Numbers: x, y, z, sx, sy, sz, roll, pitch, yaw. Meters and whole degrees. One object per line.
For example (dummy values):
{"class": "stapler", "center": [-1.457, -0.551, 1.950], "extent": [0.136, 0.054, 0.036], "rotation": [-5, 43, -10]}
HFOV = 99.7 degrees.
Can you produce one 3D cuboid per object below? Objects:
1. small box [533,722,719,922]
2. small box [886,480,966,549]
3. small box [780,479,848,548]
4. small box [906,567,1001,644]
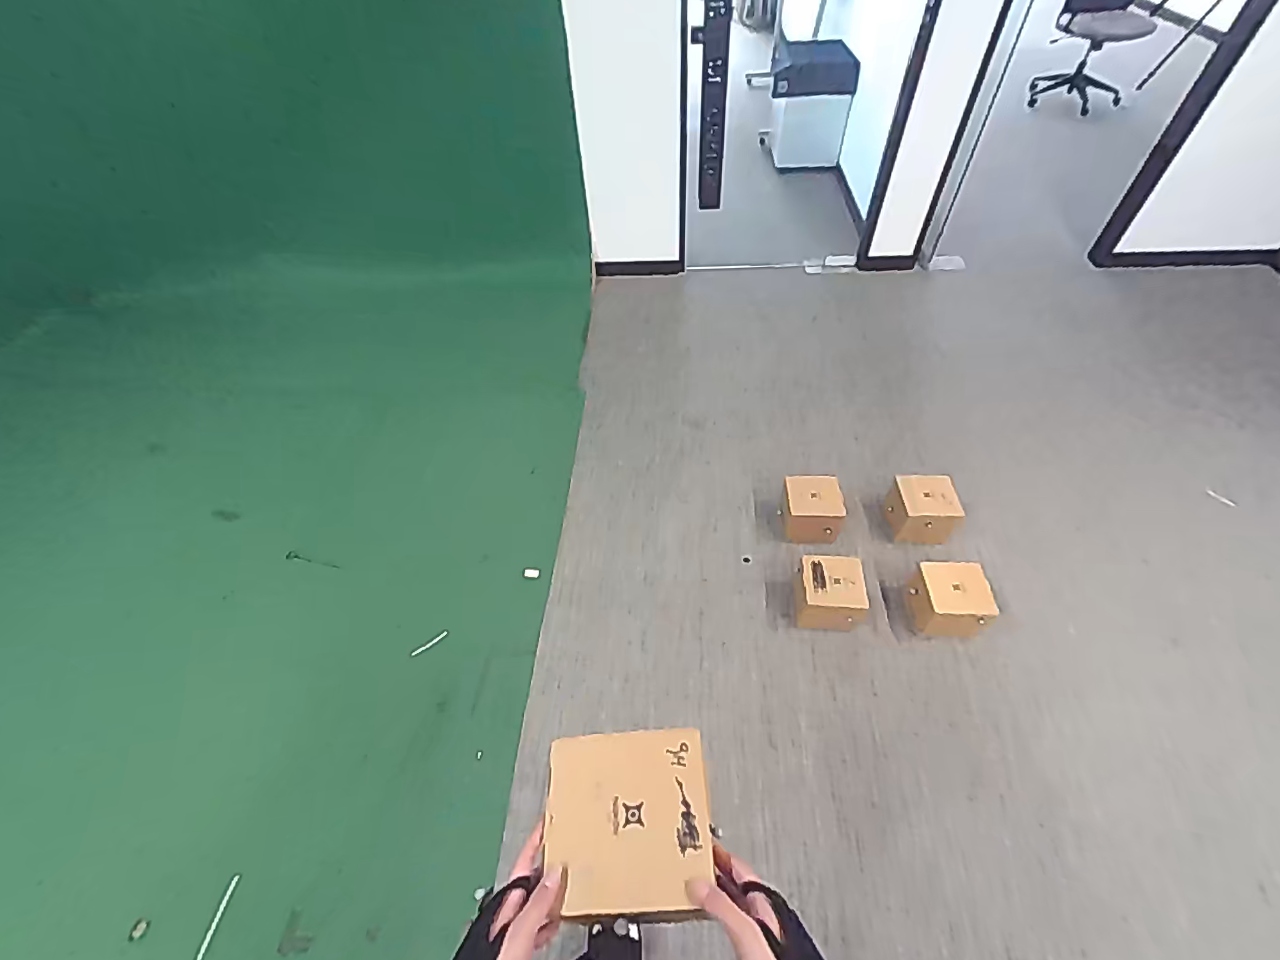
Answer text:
{"class": "small box", "center": [-0.007, 0.398, 0.624], "extent": [0.179, 0.176, 0.168], "rotation": [-6, 46, 5]}
{"class": "small box", "center": [0.936, 0.118, 1.794], "extent": [0.179, 0.176, 0.168], "rotation": [1, 51, 4]}
{"class": "small box", "center": [0.579, 0.116, 1.819], "extent": [0.179, 0.176, 0.168], "rotation": [1, 50, 5]}
{"class": "small box", "center": [0.909, 0.371, 1.593], "extent": [0.179, 0.176, 0.168], "rotation": [1, 51, 3]}
